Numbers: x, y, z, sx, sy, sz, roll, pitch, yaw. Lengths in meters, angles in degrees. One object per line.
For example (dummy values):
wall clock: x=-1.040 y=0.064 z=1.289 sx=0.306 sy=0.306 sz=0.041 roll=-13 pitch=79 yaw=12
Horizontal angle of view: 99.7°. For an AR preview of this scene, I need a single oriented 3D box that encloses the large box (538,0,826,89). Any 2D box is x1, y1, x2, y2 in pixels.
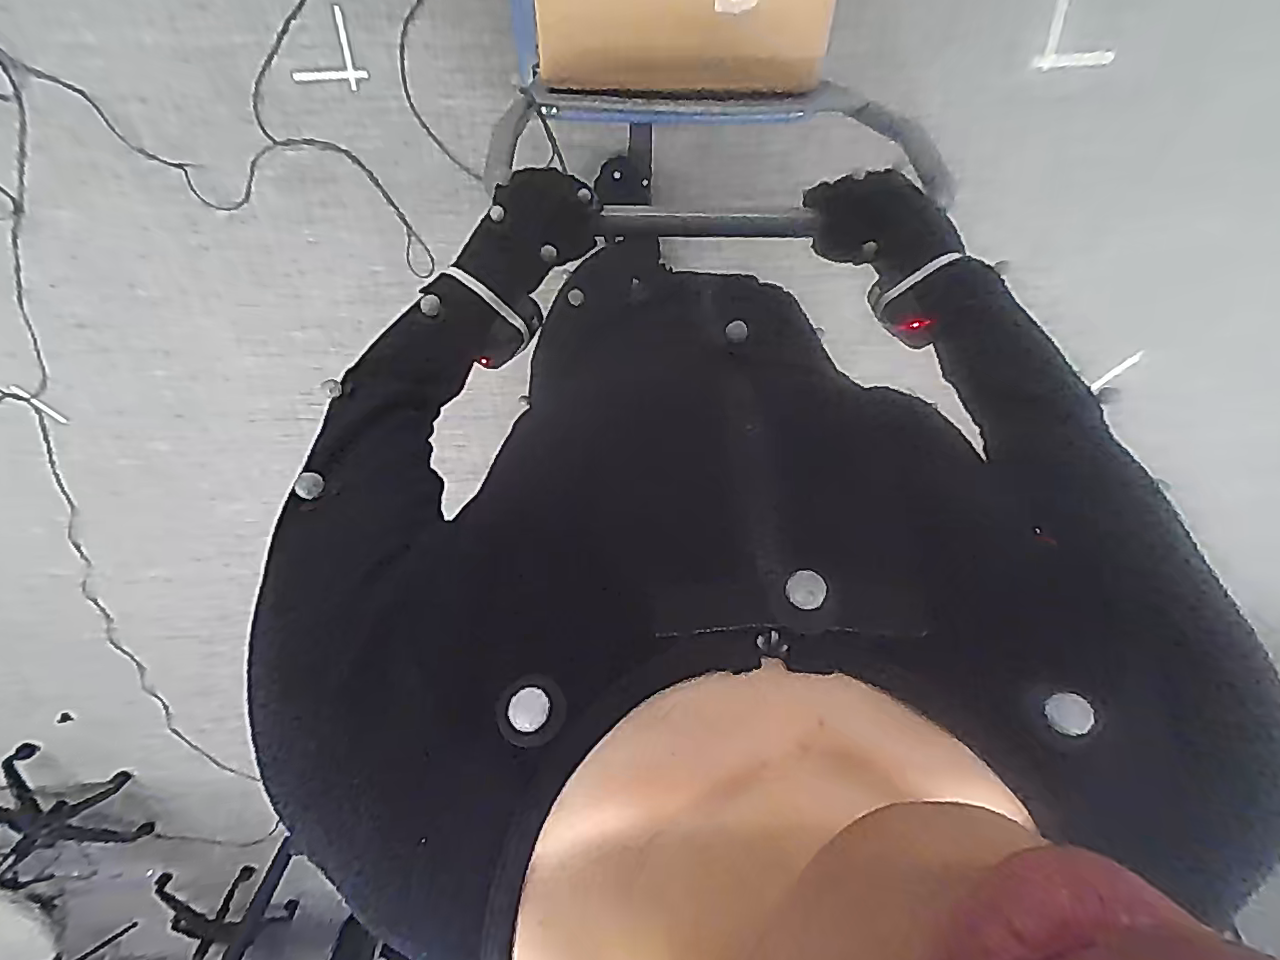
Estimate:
large box: x=0.050 y=-0.794 z=0.816 sx=0.408 sy=0.320 sz=0.320 roll=-2 pitch=130 yaw=-3
